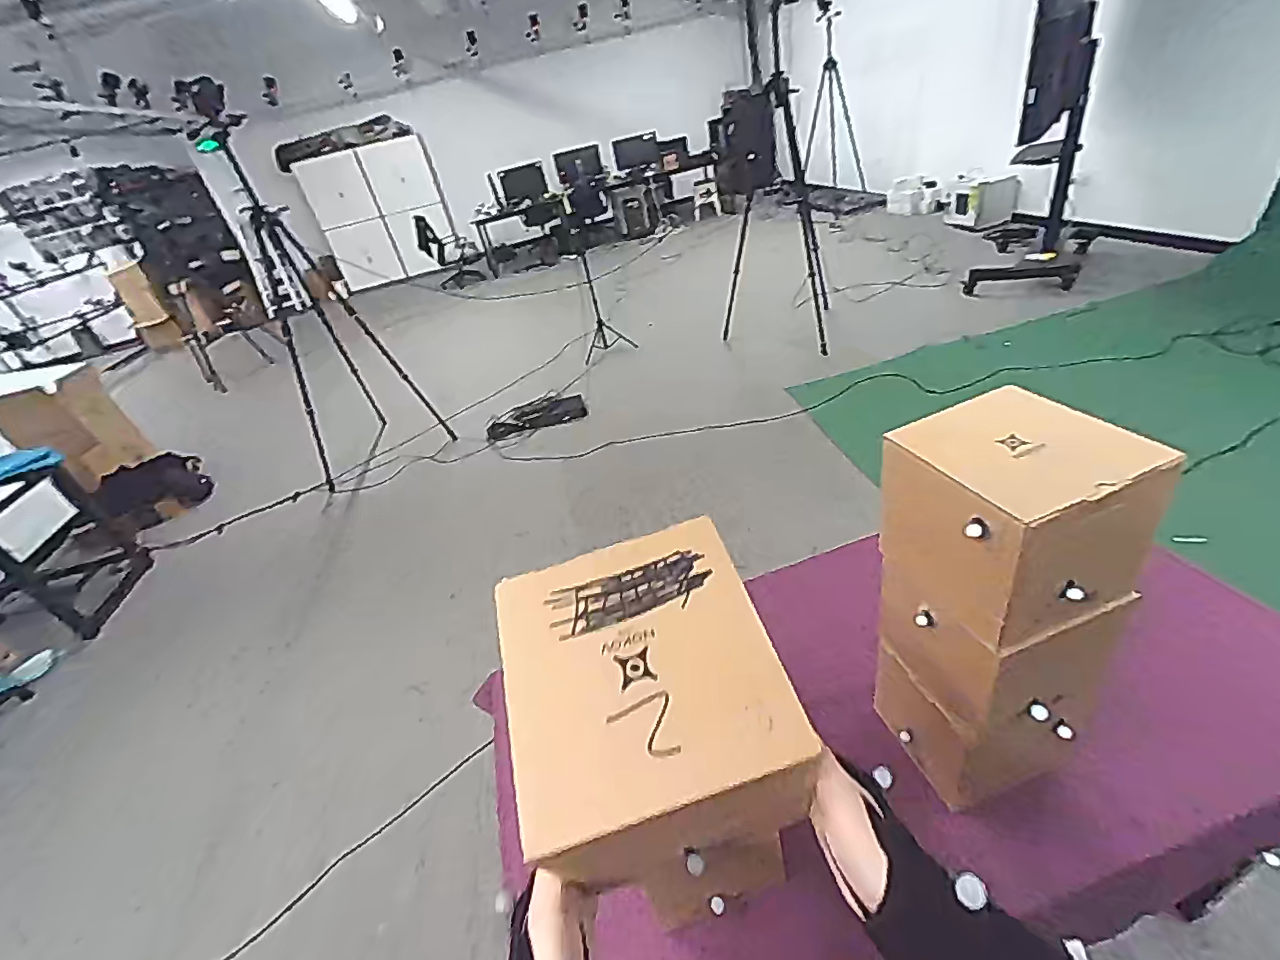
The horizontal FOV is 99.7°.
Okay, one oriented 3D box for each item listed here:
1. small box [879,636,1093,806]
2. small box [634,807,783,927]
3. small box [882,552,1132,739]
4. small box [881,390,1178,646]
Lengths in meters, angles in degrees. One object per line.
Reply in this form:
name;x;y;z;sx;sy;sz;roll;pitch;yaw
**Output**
small box;0.448;0.299;0.735;0.179;0.176;0.168;-19;34;-6
small box;0.070;0.423;0.698;0.168;0.176;0.179;-18;35;-5
small box;0.412;0.166;0.646;0.168;0.176;0.179;-20;35;-6
small box;0.373;0.034;0.560;0.168;0.176;0.179;-21;35;-8
